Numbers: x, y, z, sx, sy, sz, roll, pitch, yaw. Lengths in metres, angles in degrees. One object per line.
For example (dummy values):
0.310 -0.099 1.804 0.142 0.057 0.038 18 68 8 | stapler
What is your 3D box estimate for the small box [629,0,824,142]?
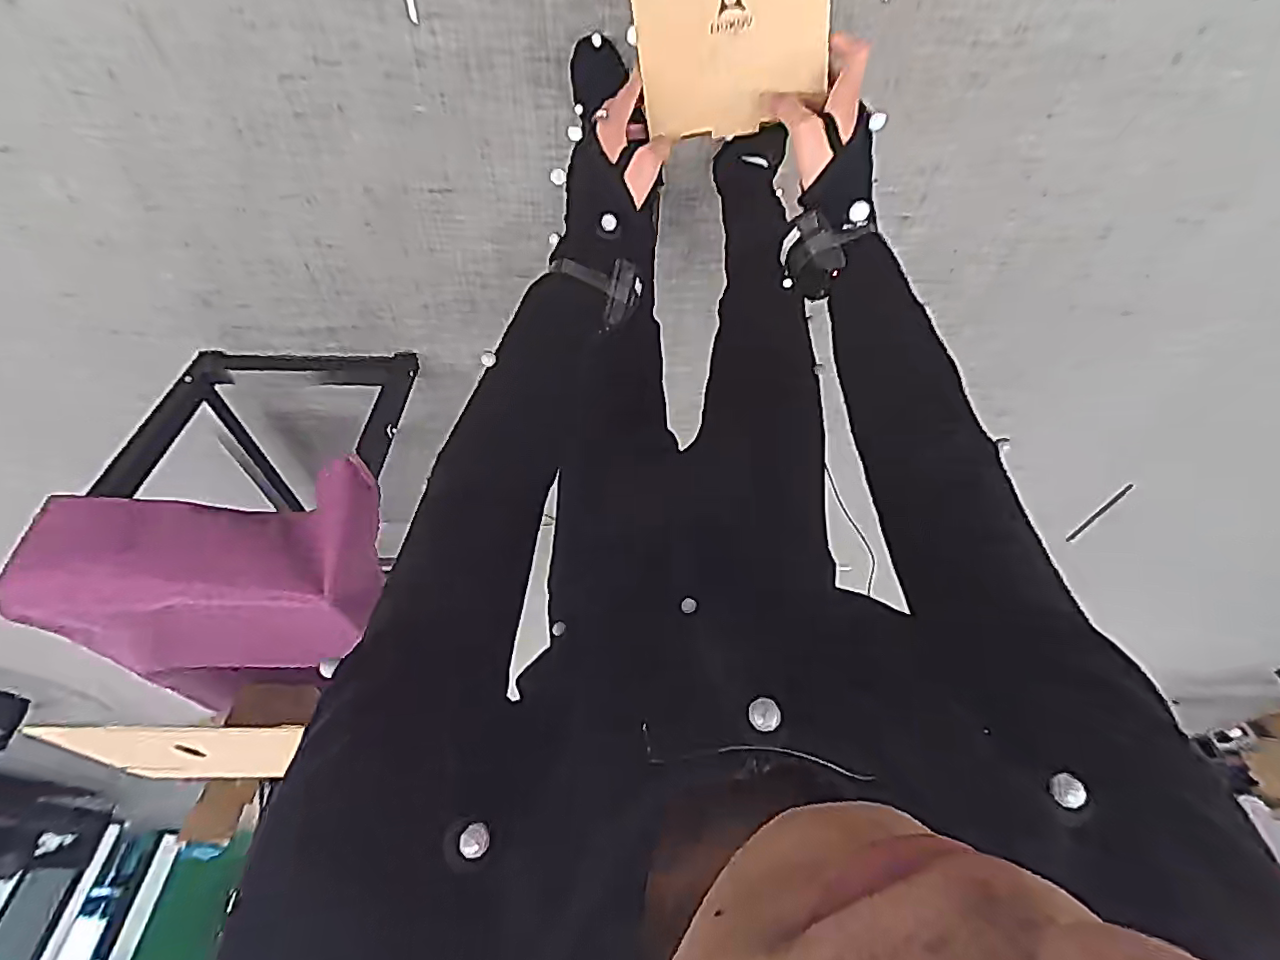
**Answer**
0.080 -0.454 0.523 0.168 0.176 0.179 -5 129 9 | small box
